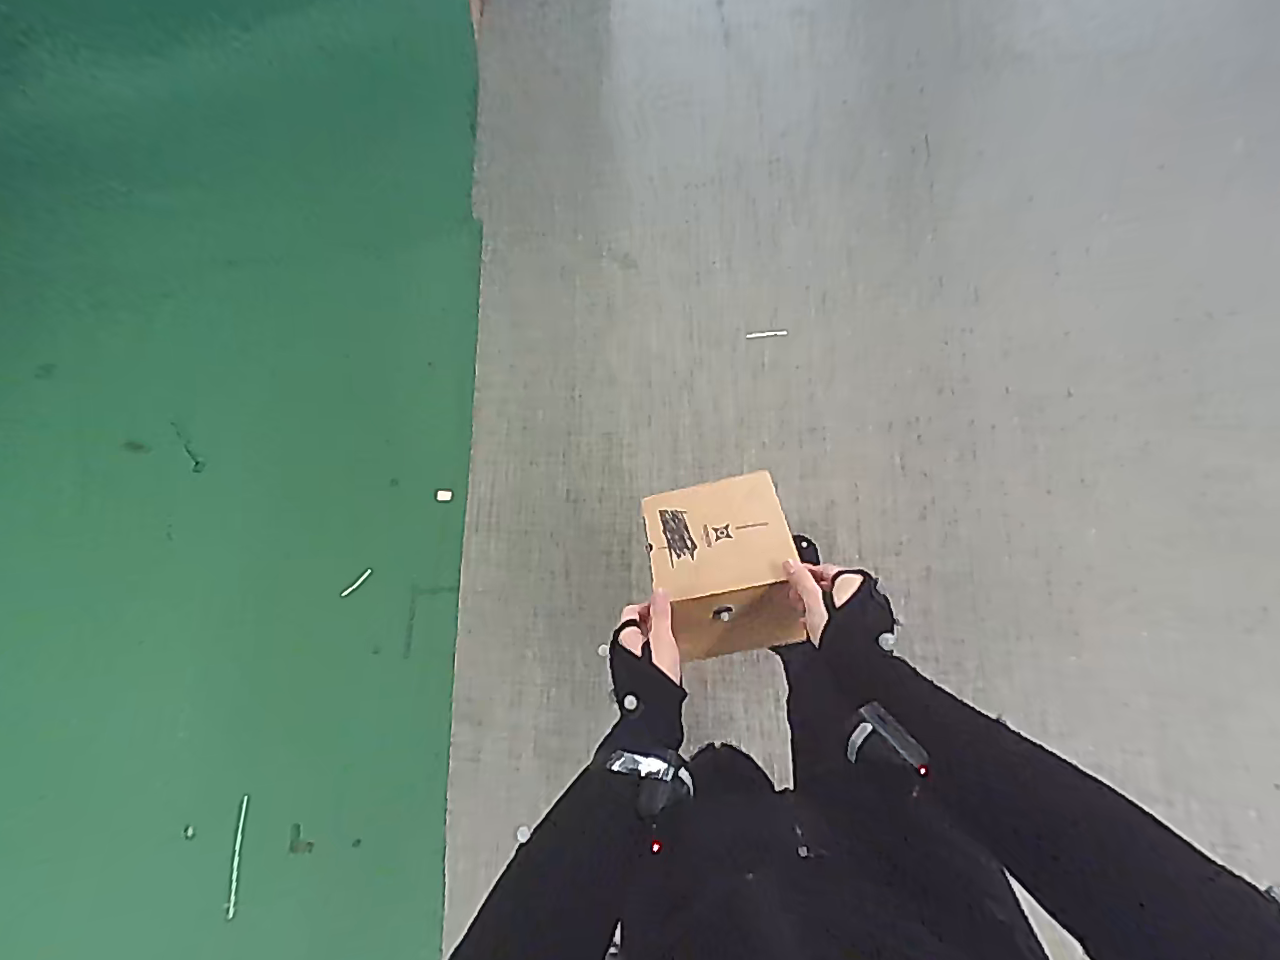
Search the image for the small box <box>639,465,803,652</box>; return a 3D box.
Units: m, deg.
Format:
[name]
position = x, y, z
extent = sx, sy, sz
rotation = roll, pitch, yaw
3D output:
[small box]
position = 0.109, 0.110, 0.718
extent = 0.179, 0.176, 0.168
rotation = -14, 49, 5
